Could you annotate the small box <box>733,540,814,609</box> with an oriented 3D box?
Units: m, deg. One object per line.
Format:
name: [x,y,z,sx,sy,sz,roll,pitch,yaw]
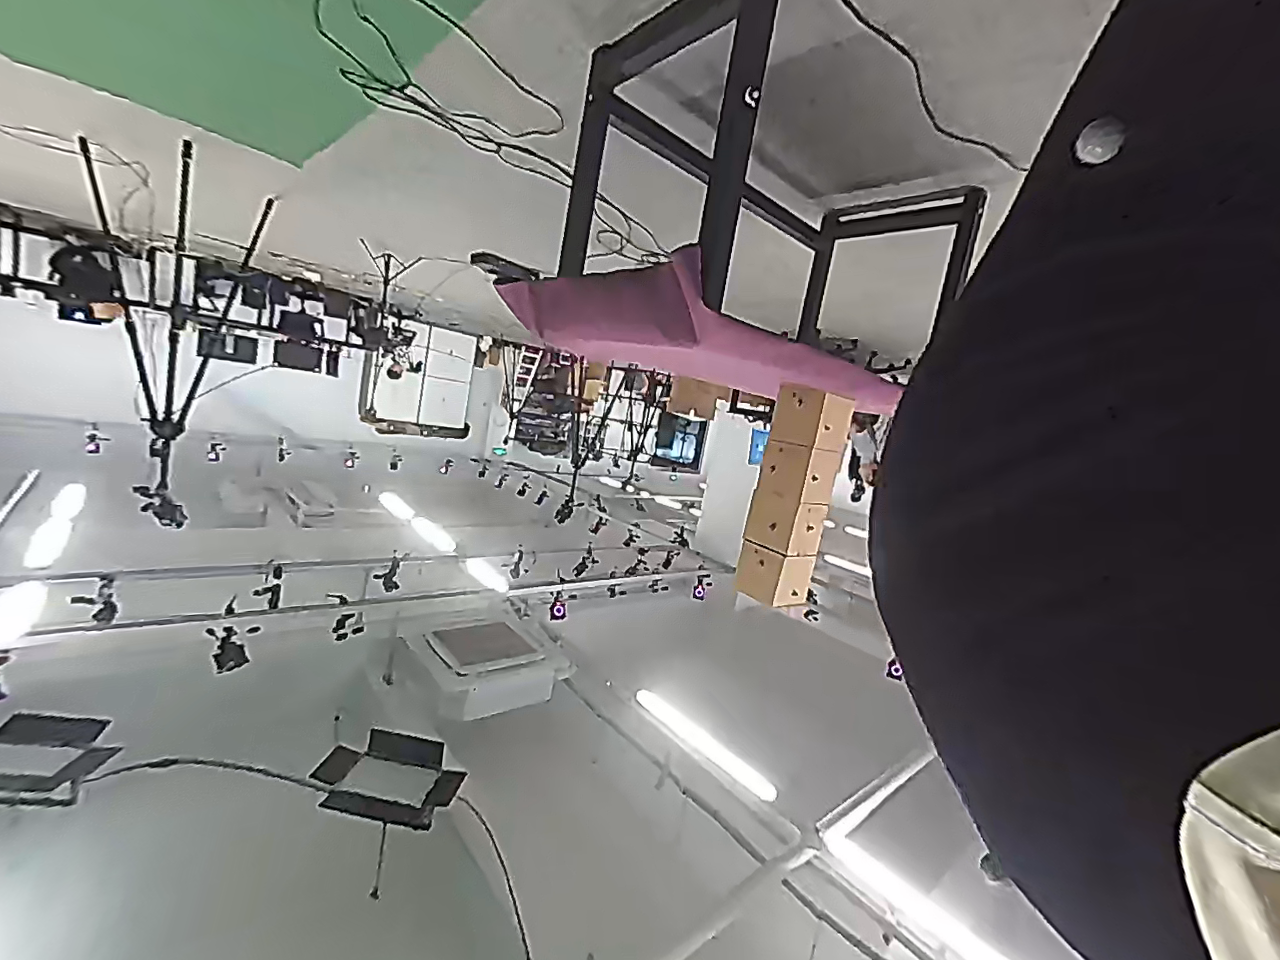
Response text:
small box: [0.428,0.292,1.718,0.179,0.176,0.168,7,-171,-40]

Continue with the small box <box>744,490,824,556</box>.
small box: [0.458,0.131,1.702,0.168,0.176,0.179,6,-172,-41]

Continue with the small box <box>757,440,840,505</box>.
small box: [0.494,-0.026,1.677,0.179,0.176,0.168,5,-170,-42]
